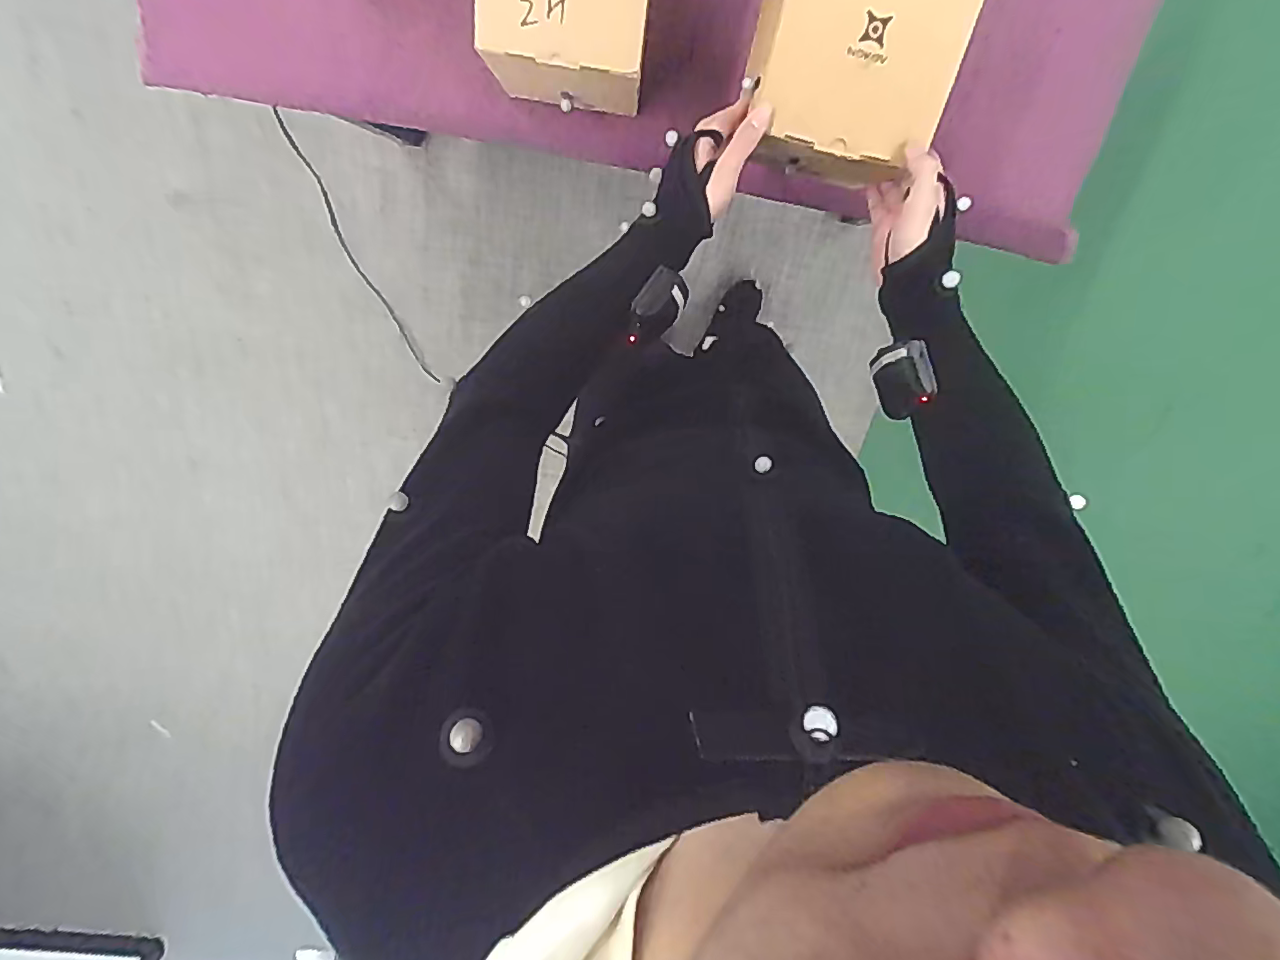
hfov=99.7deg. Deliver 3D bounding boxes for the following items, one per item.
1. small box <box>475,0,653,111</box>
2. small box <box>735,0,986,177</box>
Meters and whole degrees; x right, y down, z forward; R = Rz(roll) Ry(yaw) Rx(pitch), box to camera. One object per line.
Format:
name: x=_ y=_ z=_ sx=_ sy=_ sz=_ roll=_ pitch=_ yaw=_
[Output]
small box: x=-0.070 y=-0.528 z=0.576 sx=0.168 sy=0.176 sz=0.179 roll=8 pitch=113 yaw=-4
small box: x=0.202 y=-0.420 z=0.535 sx=0.168 sy=0.176 sz=0.179 roll=11 pitch=115 yaw=-5
